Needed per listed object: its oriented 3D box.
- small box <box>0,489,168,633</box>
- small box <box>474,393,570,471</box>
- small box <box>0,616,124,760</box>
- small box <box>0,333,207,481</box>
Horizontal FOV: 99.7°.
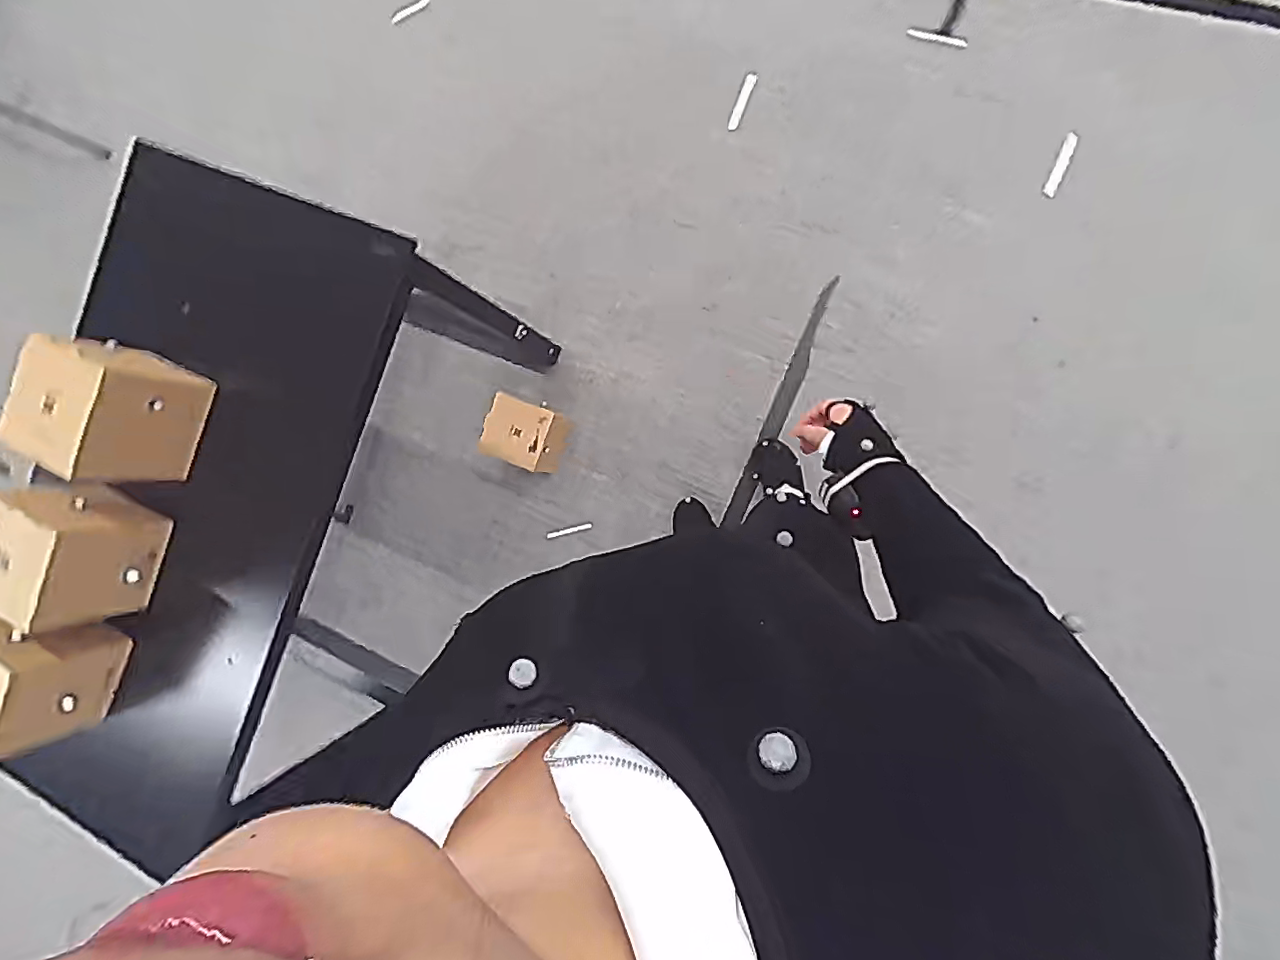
[{"bbox_3d":[-0.942,0.122,0.884,0.179,0.176,0.168,21,94,9],"label":"small box"},{"bbox_3d":[-0.322,-0.126,1.501,0.179,0.176,0.168,22,95,11],"label":"small box"},{"bbox_3d":[-1.031,0.327,0.902,0.179,0.176,0.168,26,94,11],"label":"small box"},{"bbox_3d":[-0.851,-0.109,0.868,0.168,0.176,0.179,23,96,12],"label":"small box"}]
